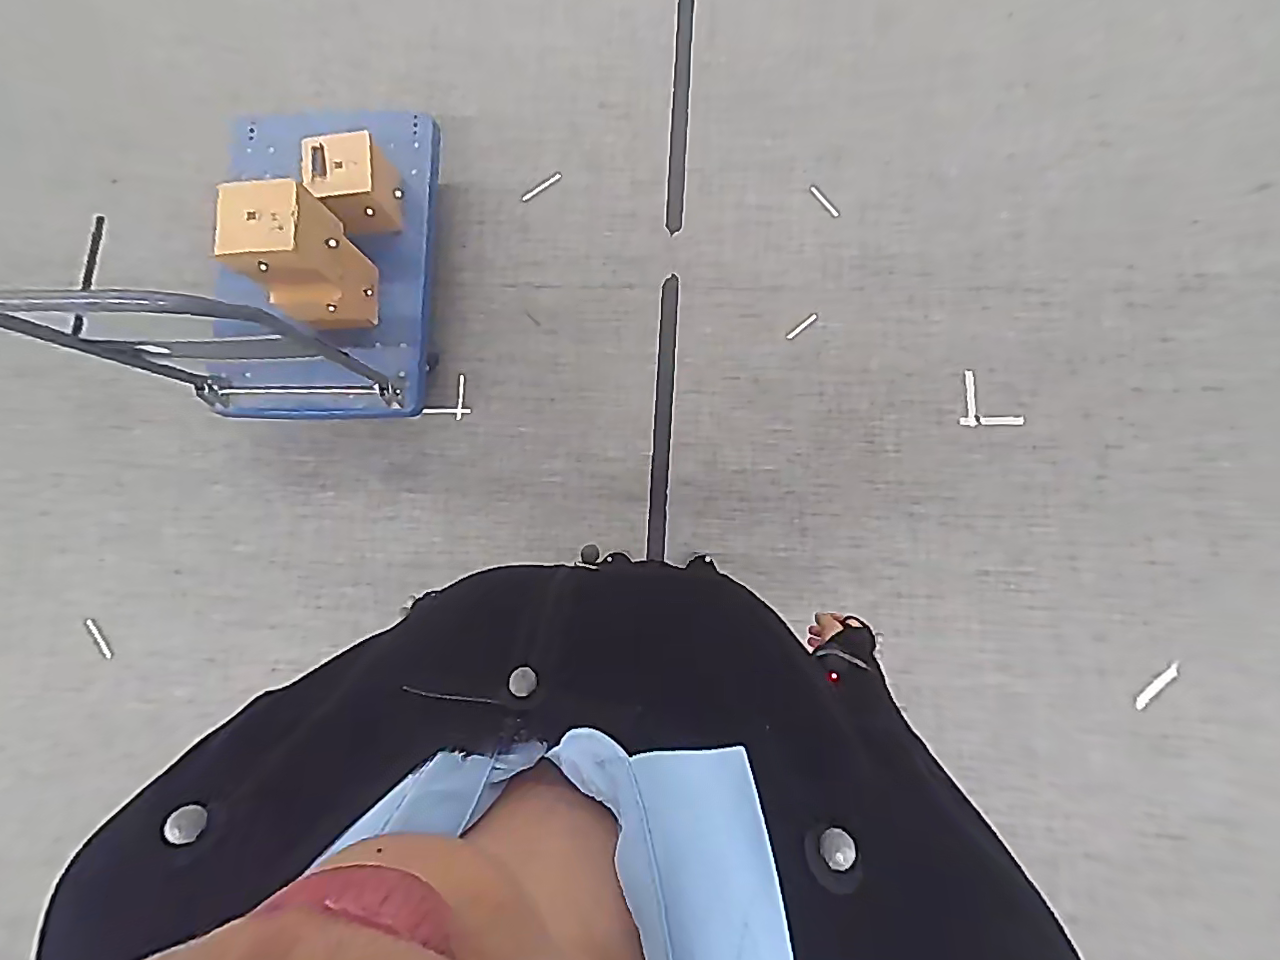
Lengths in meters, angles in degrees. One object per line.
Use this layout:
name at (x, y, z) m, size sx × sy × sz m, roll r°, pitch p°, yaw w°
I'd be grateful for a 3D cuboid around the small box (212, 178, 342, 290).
small box at (-0.803, -0.541, 1.210) m, size 0.179 × 0.176 × 0.168 m, roll -2°, pitch 83°, yaw 2°

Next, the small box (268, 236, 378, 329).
small box at (-0.796, -0.494, 1.369) m, size 0.179 × 0.176 × 0.168 m, roll -3°, pitch 82°, yaw 2°
